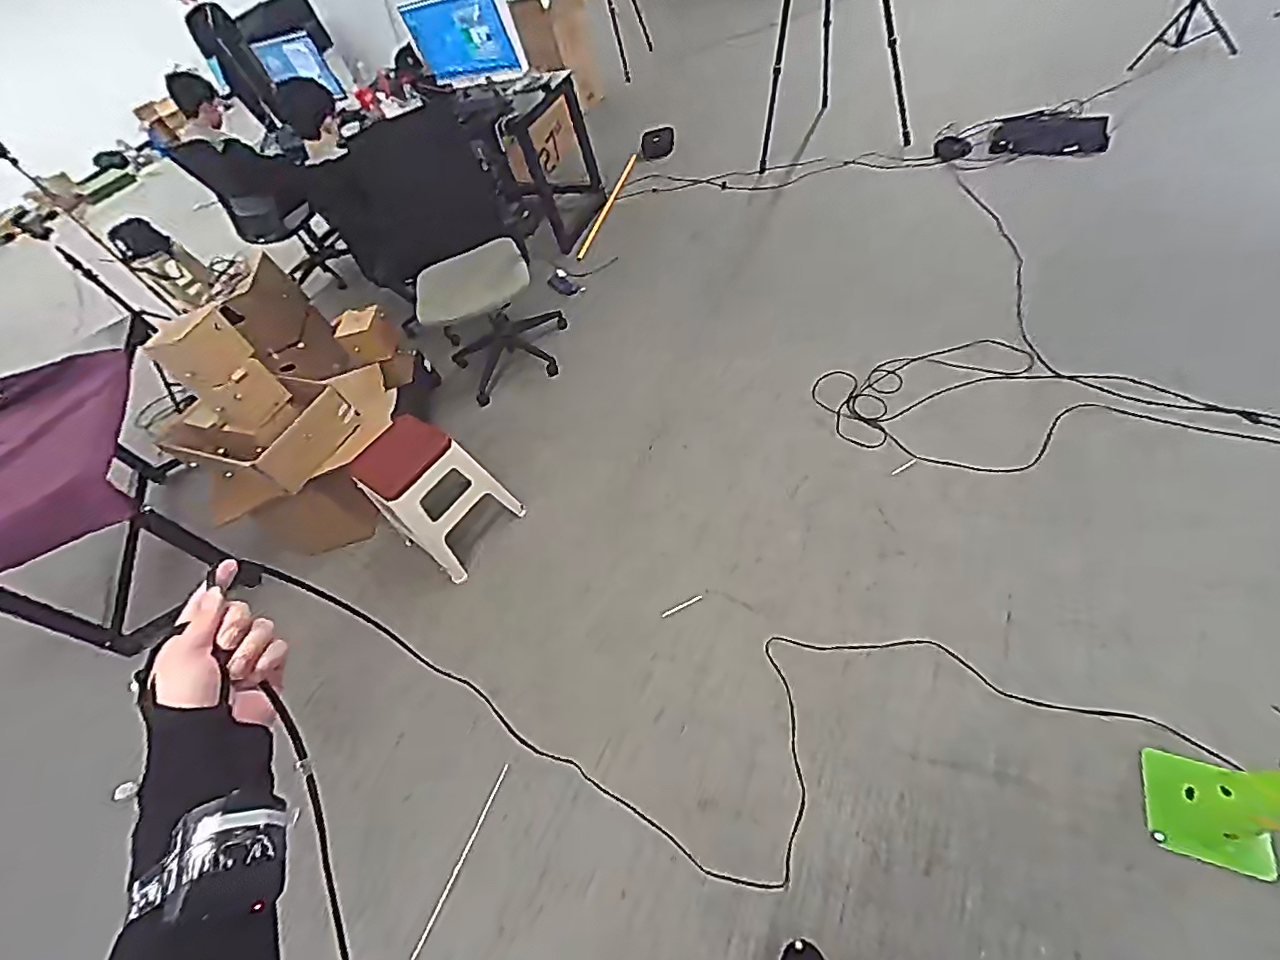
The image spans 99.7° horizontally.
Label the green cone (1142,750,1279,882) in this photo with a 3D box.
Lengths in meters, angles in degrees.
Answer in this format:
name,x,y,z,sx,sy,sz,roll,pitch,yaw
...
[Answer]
name,x,y,z,sx,sy,sz,roll,pitch,yaw
green cone,1.155,0.595,1.010,0.200,0.368,0.202,9,56,24
